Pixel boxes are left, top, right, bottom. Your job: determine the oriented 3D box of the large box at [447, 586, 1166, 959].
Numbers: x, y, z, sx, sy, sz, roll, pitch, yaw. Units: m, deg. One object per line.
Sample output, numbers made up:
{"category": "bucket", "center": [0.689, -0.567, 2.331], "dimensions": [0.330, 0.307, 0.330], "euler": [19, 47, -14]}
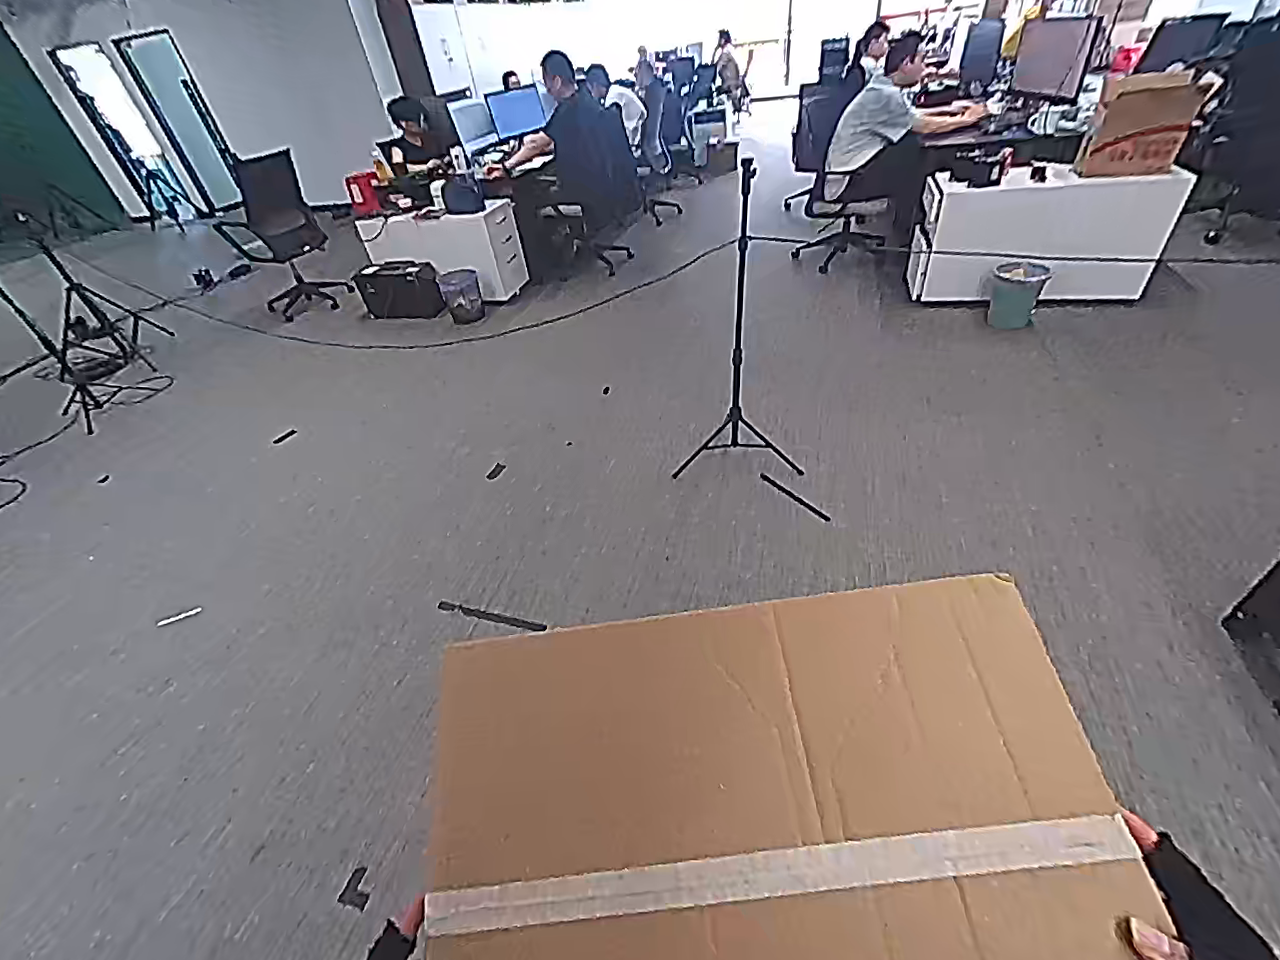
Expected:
{"category": "large box", "center": [0.094, 0.309, 0.452], "dimensions": [0.408, 0.320, 0.320], "euler": [-8, 62, 3]}
